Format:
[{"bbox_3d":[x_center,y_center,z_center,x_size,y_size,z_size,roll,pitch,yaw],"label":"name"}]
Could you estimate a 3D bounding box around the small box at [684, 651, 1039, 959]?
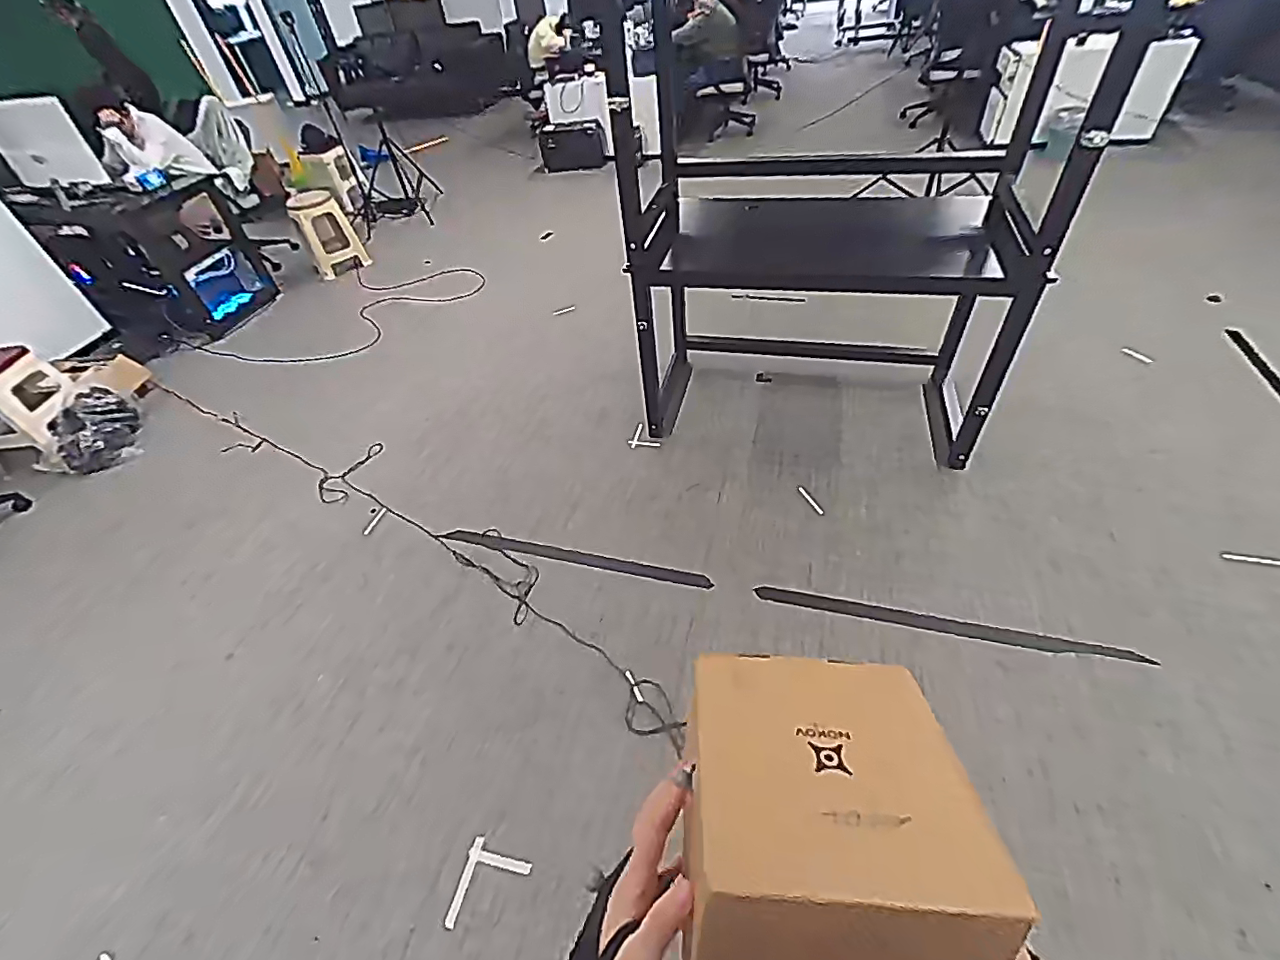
[{"bbox_3d":[0.118,0.248,0.376,0.168,0.176,0.179,3,25,3],"label":"small box"}]
